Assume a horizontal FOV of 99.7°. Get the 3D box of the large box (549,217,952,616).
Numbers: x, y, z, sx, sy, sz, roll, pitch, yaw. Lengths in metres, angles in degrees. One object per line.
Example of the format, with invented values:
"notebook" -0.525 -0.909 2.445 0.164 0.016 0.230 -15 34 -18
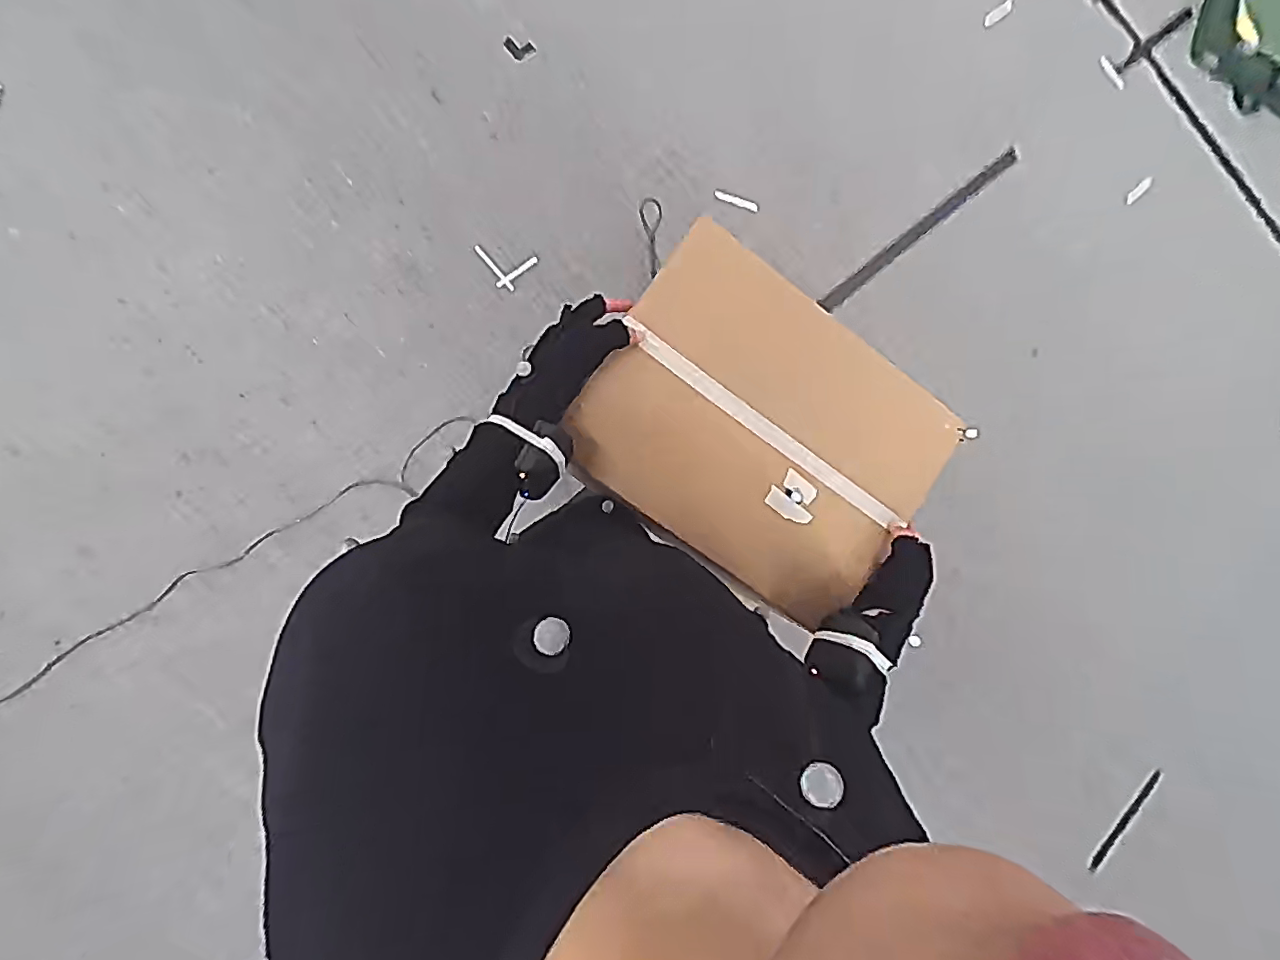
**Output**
"large box" 0.118 -0.071 0.775 0.408 0.320 0.320 35 86 -8
